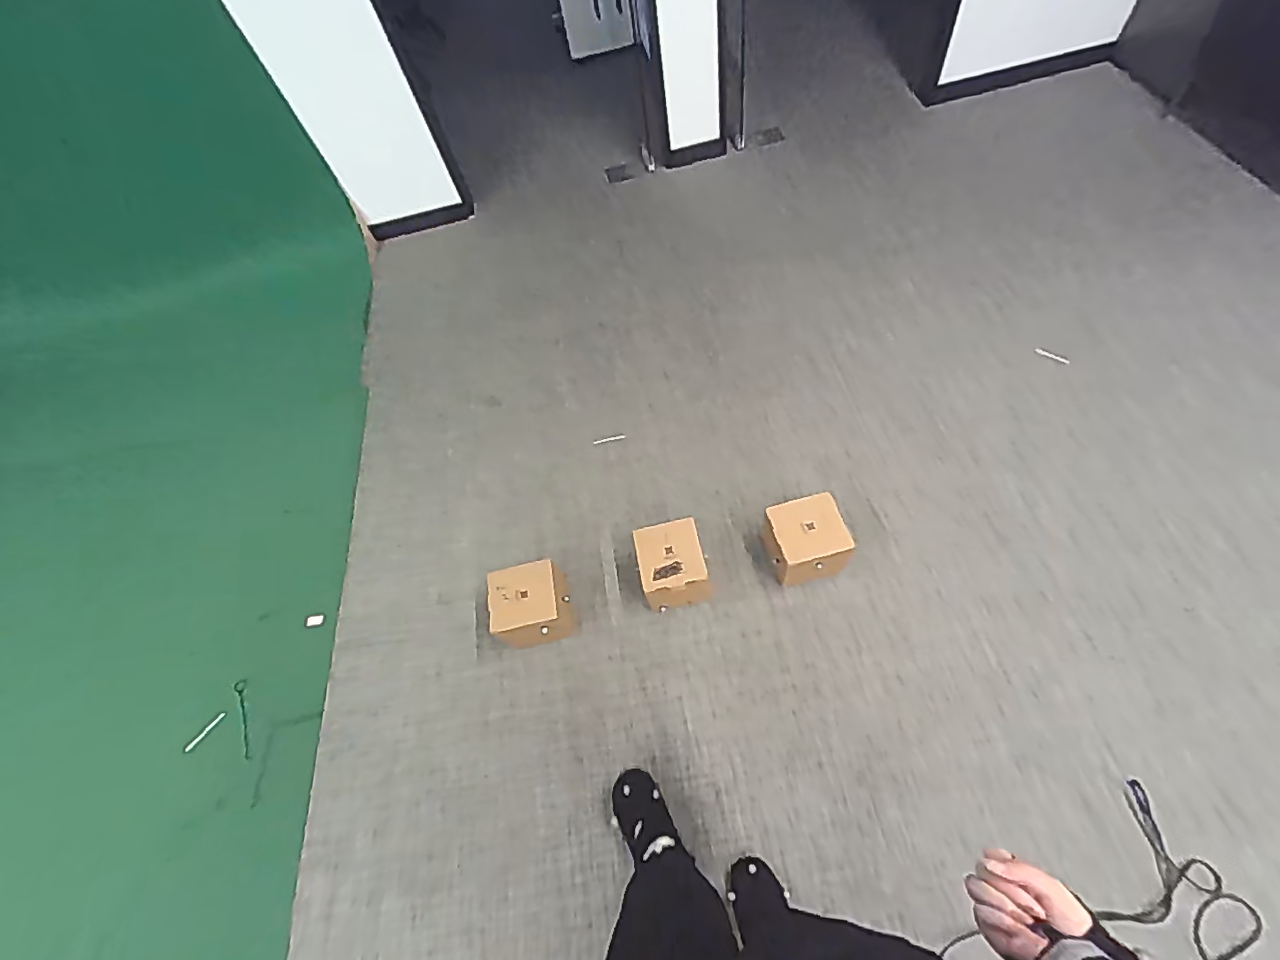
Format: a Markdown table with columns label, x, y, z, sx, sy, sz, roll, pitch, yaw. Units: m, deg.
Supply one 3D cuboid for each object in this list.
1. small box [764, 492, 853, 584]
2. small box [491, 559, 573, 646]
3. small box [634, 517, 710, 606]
| label | x | y | z | sx | sy | sz | roll | pitch | yaw |
| --- | --- | --- | --- | --- | --- | --- | --- | --- | --- |
| small box | 0.435 | 0.159 | 1.427 | 0.179 | 0.176 | 0.168 | -15 | 60 | 1 |
| small box | -0.286 | 0.333 | 1.455 | 0.179 | 0.176 | 0.168 | -13 | 58 | 2 |
| small box | 0.089 | 0.227 | 1.450 | 0.168 | 0.176 | 0.179 | -13 | 59 | 2 |
